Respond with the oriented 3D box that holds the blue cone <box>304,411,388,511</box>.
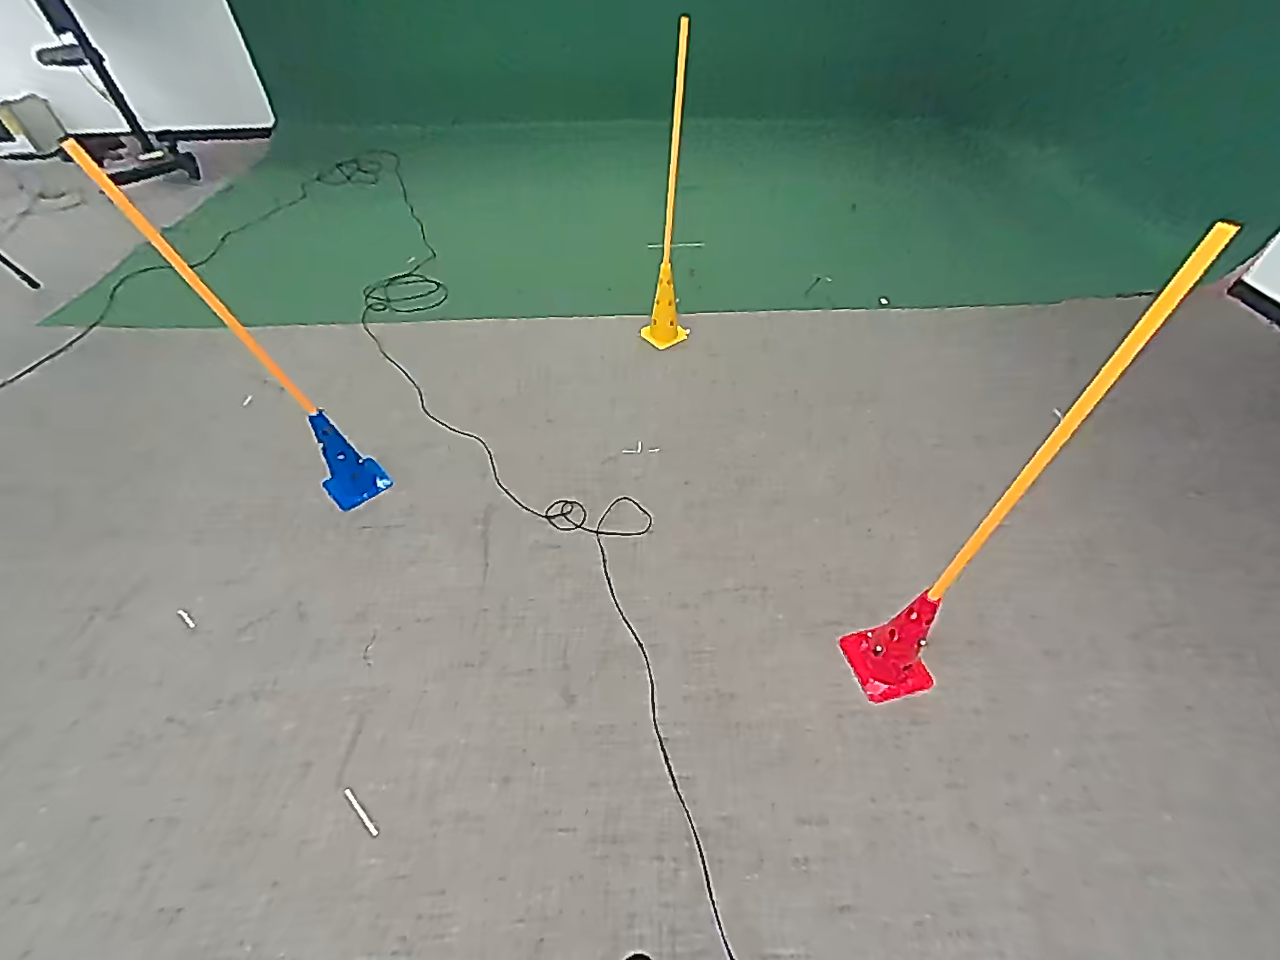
[{"bbox_3d":[-1.055,-0.084,1.879,0.192,0.380,0.193,35,60,28],"label":"blue cone"}]
